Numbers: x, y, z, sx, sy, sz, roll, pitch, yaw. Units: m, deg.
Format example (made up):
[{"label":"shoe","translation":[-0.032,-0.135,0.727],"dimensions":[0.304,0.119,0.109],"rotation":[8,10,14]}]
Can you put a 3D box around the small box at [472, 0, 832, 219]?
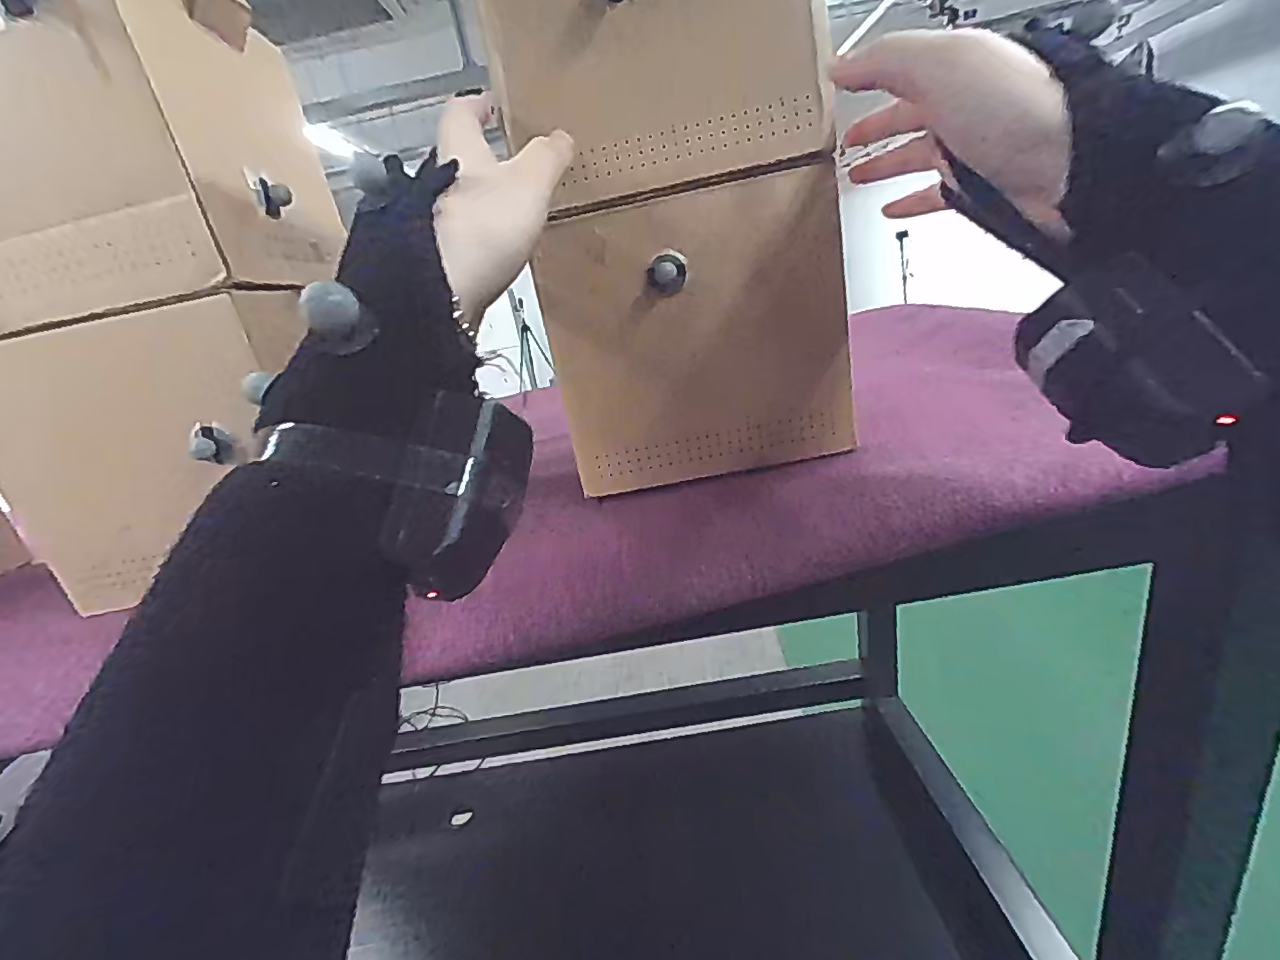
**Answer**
[{"label":"small box","translation":[0.005,-0.255,0.341],"dimensions":[0.179,0.176,0.168],"rotation":[-11,18,5]}]

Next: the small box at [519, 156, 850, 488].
[{"label":"small box","translation":[0.034,-0.101,0.389],"dimensions":[0.179,0.176,0.168],"rotation":[-10,18,4]}]

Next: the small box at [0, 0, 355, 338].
[{"label":"small box","translation":[-0.315,-0.180,0.328],"dimensions":[0.179,0.176,0.168],"rotation":[-12,20,0]}]

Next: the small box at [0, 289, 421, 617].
[{"label":"small box","translation":[-0.282,-0.029,0.380],"dimensions":[0.179,0.176,0.168],"rotation":[-12,20,1]}]
